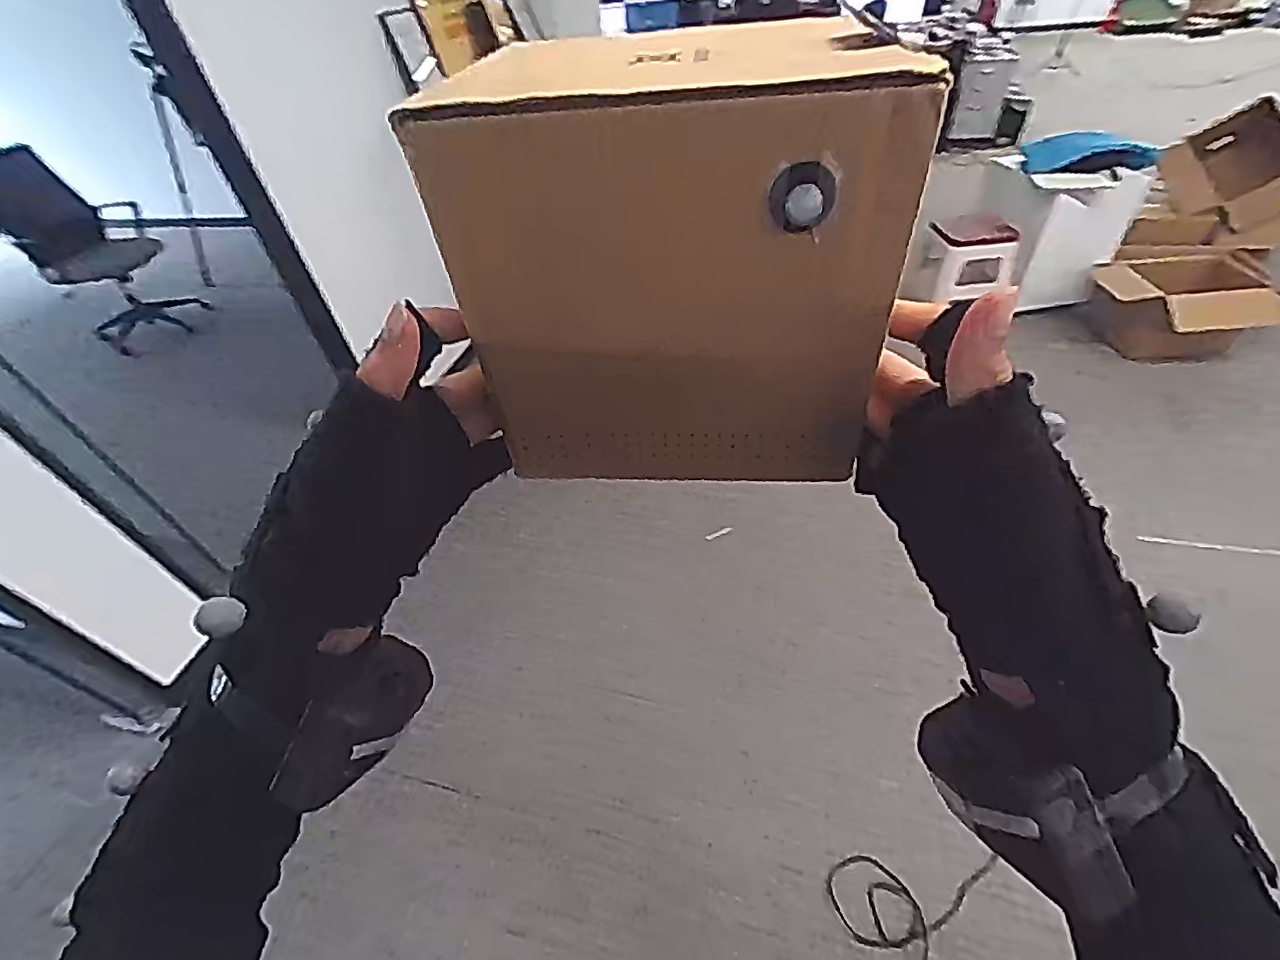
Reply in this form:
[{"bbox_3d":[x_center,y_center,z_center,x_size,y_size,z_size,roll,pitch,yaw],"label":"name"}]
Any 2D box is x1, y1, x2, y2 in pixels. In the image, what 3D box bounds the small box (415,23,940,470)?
[{"bbox_3d":[0.021,-0.119,0.285,0.179,0.176,0.168,2,45,7],"label":"small box"}]
